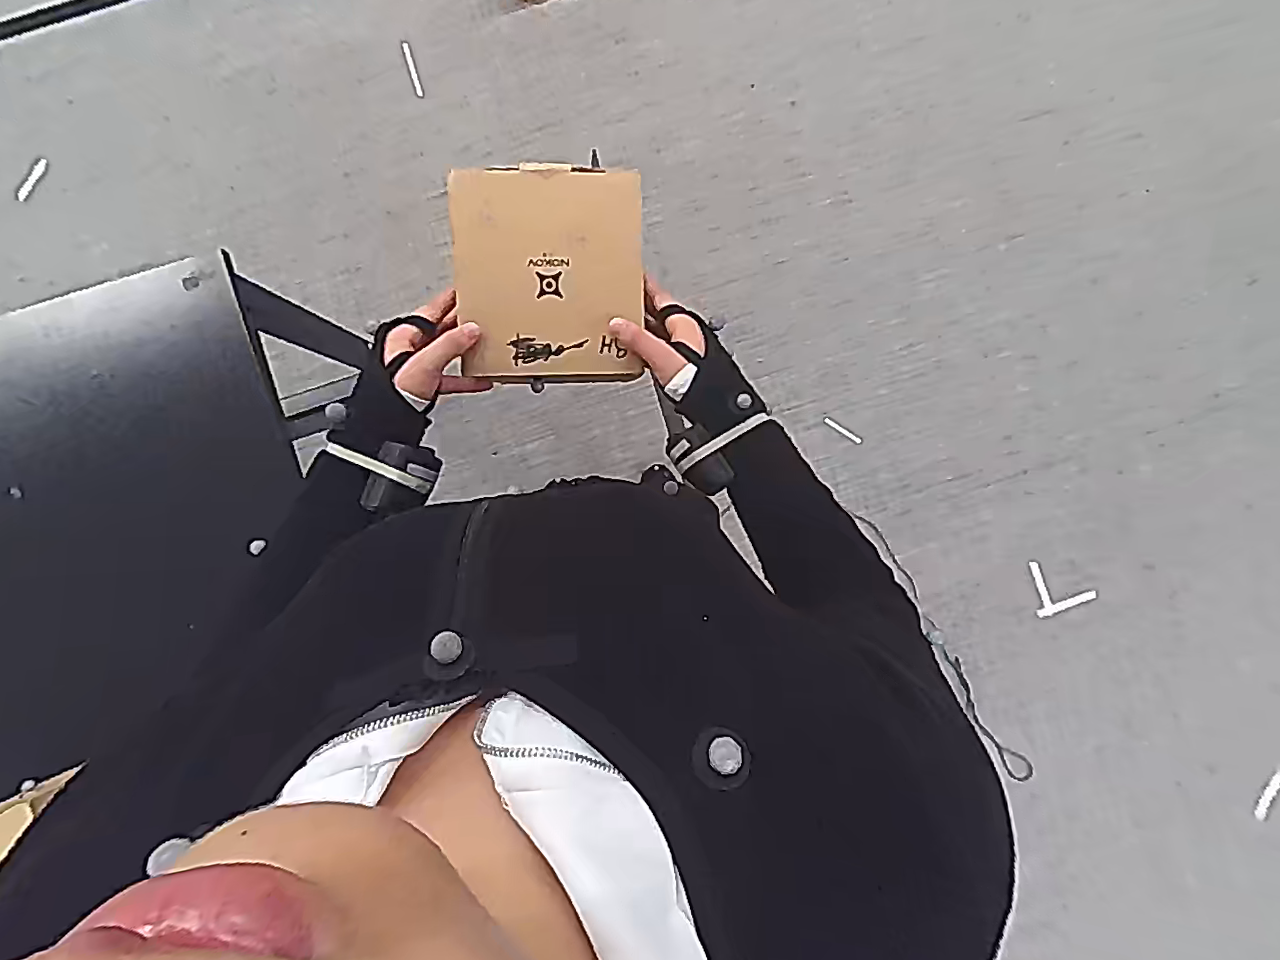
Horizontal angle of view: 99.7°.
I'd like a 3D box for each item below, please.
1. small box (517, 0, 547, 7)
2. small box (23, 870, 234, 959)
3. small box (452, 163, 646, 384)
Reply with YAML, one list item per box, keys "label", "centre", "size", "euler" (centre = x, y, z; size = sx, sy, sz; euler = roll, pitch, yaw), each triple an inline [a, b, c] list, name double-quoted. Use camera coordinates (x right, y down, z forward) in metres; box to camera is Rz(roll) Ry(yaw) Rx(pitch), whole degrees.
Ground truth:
- label: "small box"
  centre: [-0.276, -1.418, 1.431]
  size: [0.179, 0.176, 0.168]
  euler: [-18, 89, 0]
- label: "small box"
  centre: [-0.658, 0.640, 0.684]
  size: [0.179, 0.176, 0.168]
  euler: [-14, 89, 0]
- label: "small box"
  centre: [-0.083, -0.193, 0.550]
  size: [0.168, 0.176, 0.179]
  euler: [-2, 97, -3]
